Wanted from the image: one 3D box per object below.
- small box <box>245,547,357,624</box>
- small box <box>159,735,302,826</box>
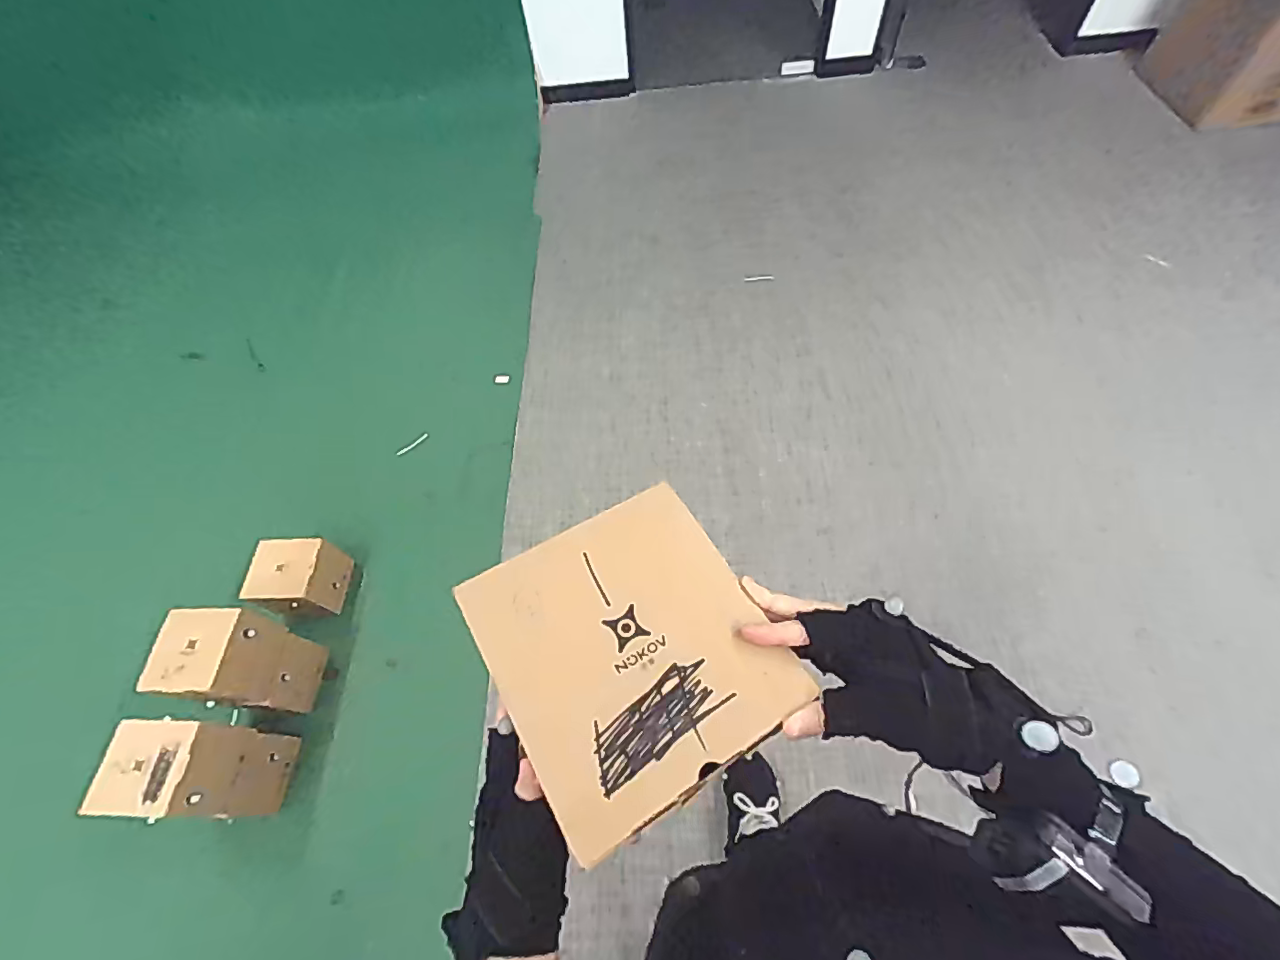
[{"bbox_3d":[-0.924,0.294,1.492,0.179,0.176,0.168,-2,59,3],"label":"small box"},{"bbox_3d":[-0.934,0.696,1.255,0.179,0.176,0.168,1,60,6],"label":"small box"}]
